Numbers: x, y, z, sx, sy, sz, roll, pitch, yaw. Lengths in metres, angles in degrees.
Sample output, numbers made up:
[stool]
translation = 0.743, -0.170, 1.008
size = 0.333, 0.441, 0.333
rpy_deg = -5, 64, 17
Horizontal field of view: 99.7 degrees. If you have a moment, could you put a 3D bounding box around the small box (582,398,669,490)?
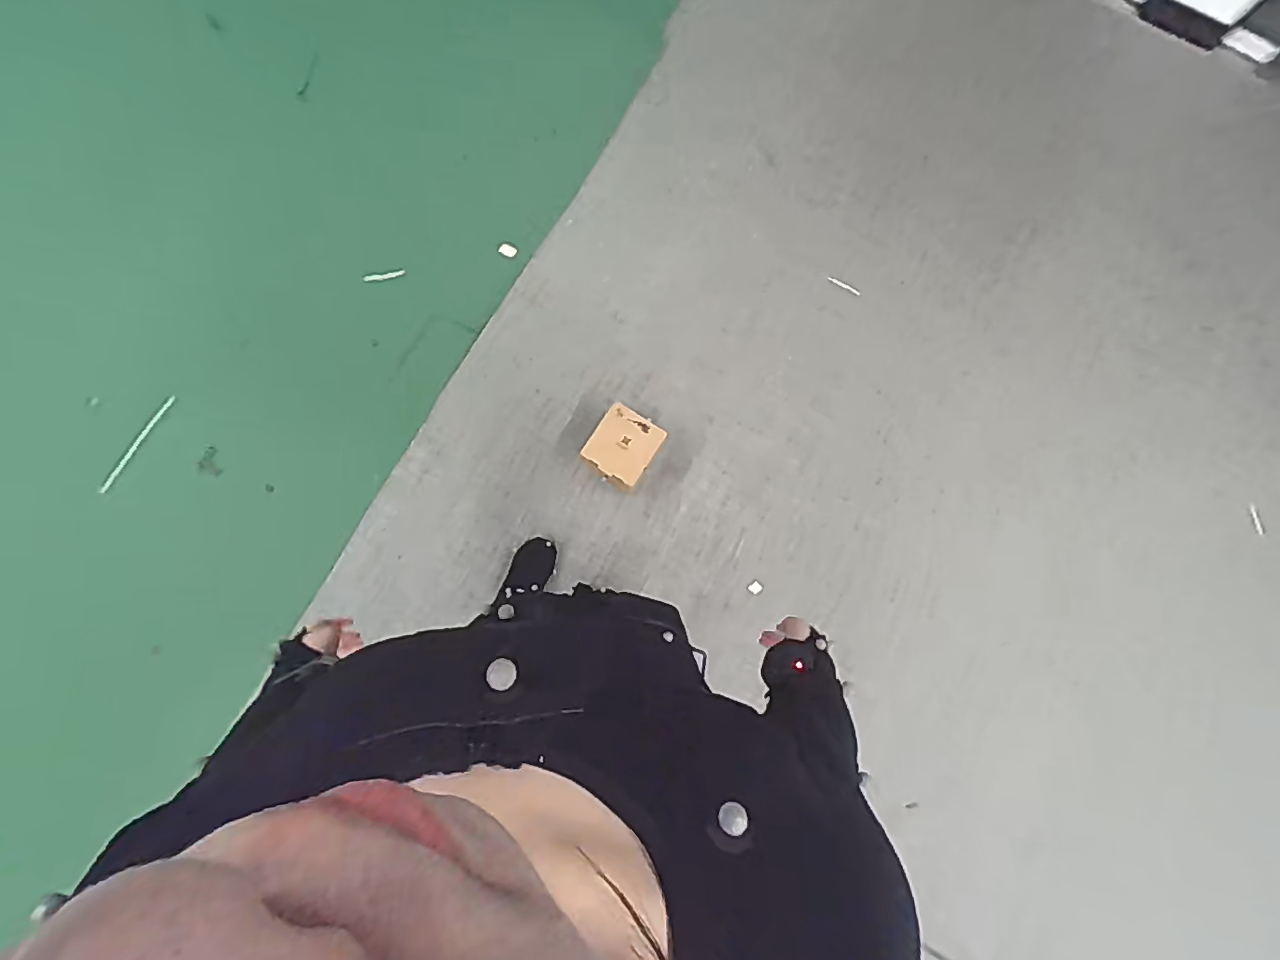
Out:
[small box]
translation = -0.037, -0.088, 1.473
size = 0.168, 0.176, 0.179
rpy_deg = 34, 83, 3
